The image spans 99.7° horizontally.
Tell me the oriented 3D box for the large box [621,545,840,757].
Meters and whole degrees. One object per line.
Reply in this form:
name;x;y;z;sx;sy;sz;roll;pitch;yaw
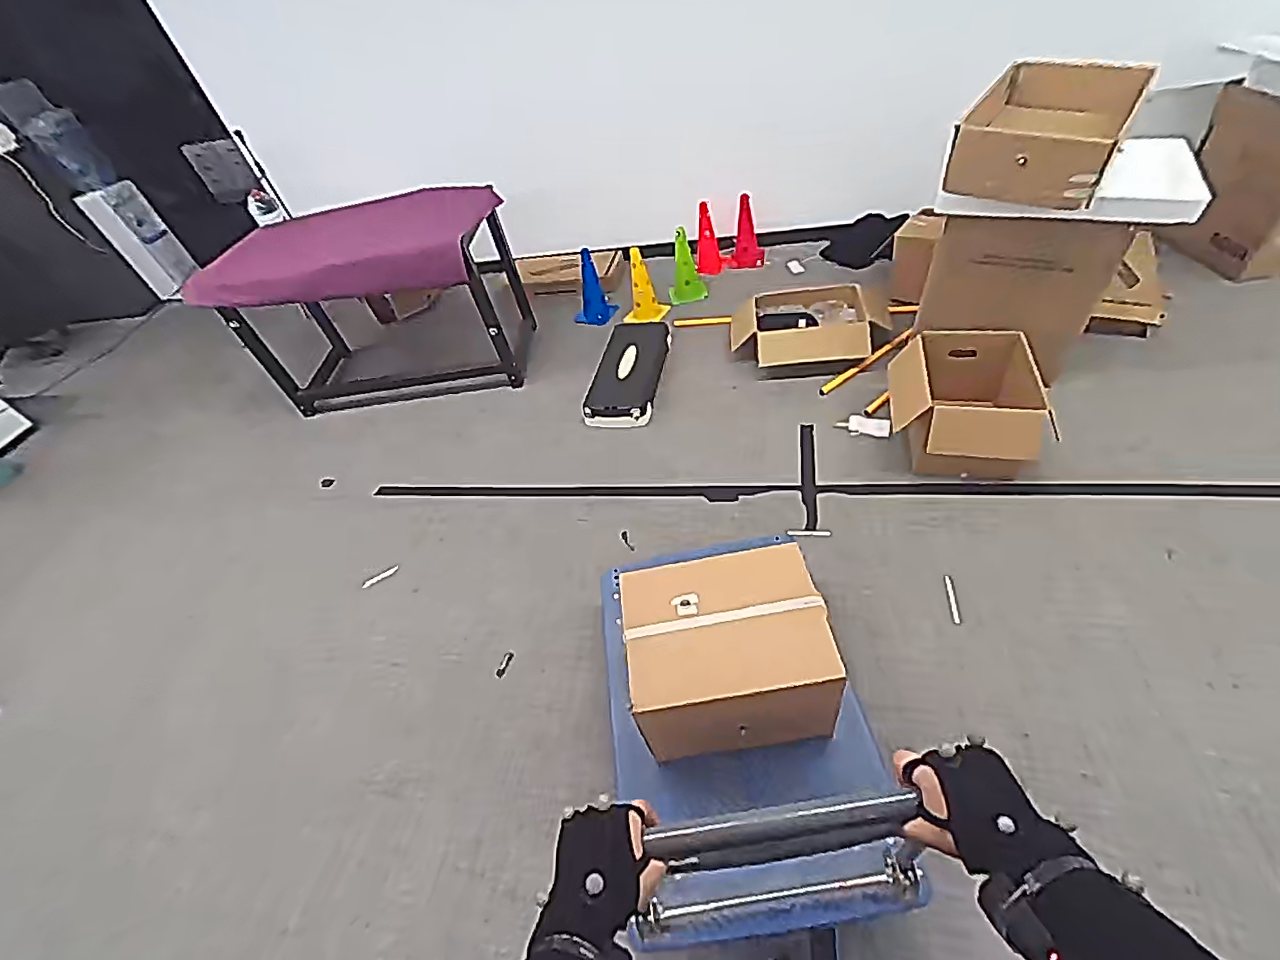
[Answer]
large box;0.194;0.394;1.229;0.408;0.320;0.320;-12;45;4
